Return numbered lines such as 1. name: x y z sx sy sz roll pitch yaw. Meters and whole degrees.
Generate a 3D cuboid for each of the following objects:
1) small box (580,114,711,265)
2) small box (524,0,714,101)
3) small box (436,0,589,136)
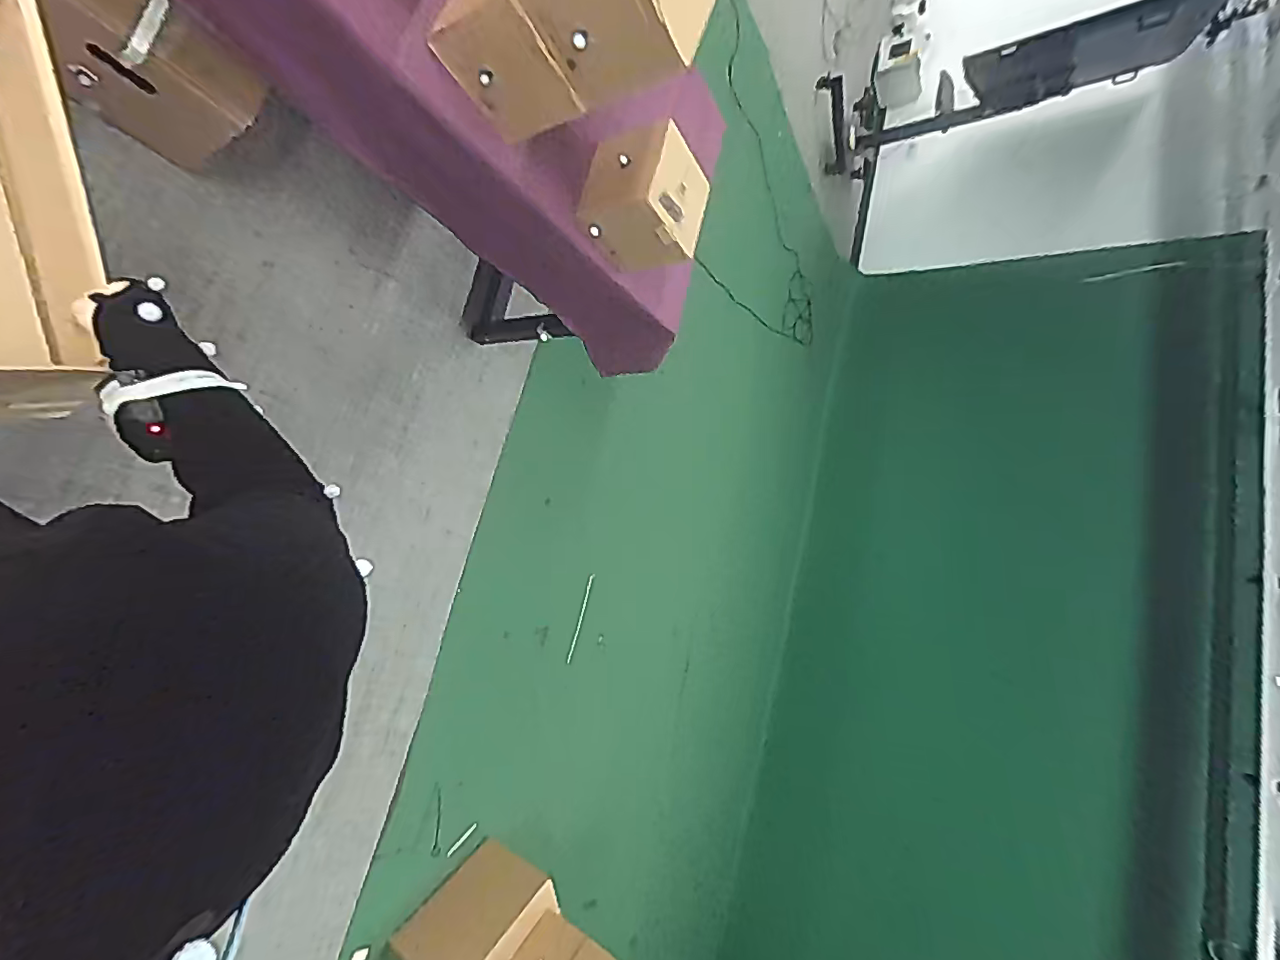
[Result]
1. small box: 0.009 -0.537 1.030 0.168 0.176 0.179 31 70 -52
2. small box: -0.023 -0.635 0.686 0.168 0.176 0.179 39 65 -50
3. small box: -0.160 -0.645 0.779 0.168 0.176 0.179 38 66 -50
